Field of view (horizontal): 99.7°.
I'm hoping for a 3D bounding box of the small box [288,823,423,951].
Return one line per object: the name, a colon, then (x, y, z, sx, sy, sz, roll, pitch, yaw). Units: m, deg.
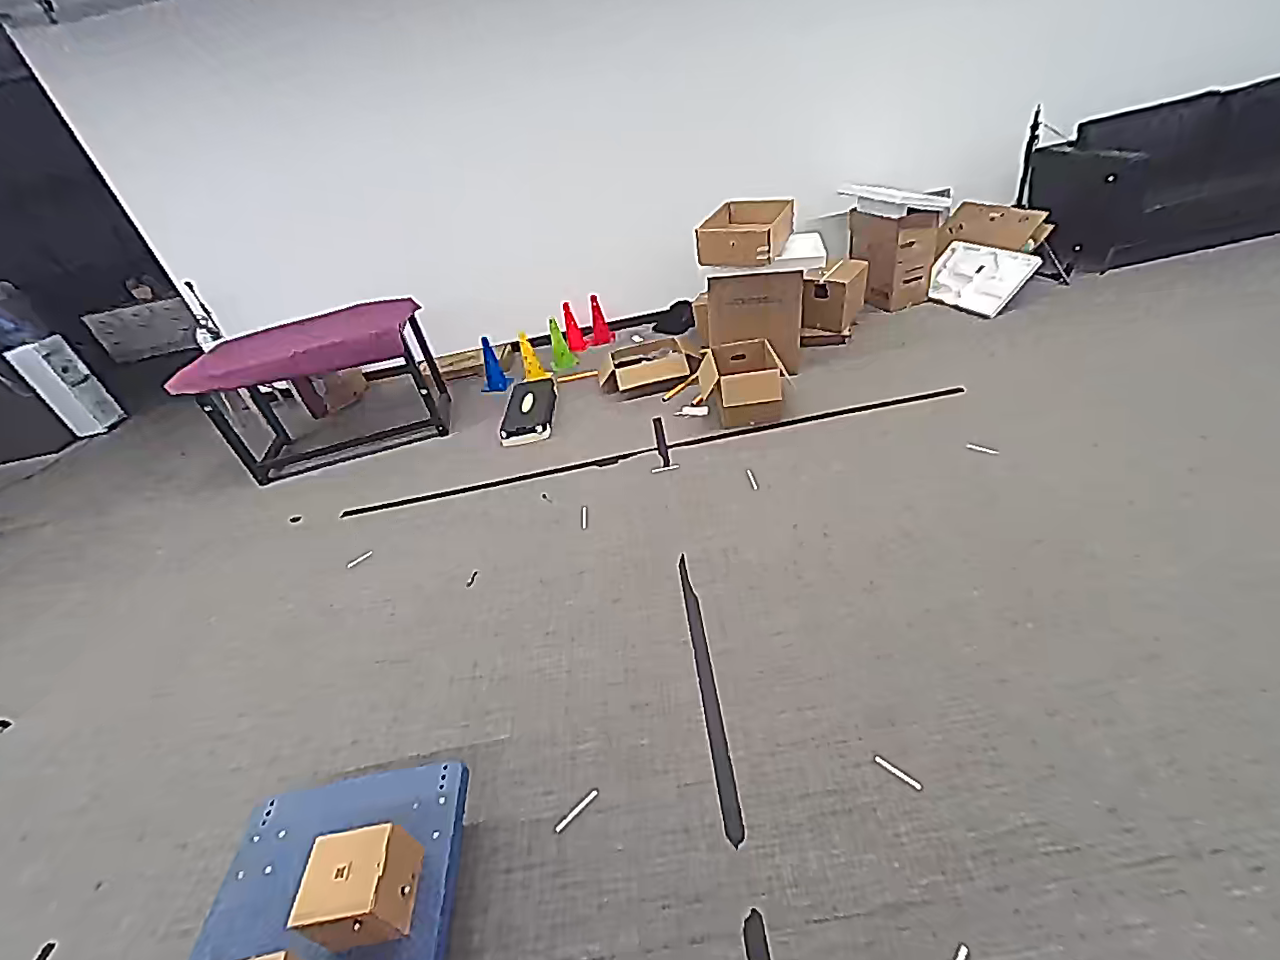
small box: (-0.605, 0.886, 1.175, 0.179, 0.176, 0.168, -12, 35, 1)
